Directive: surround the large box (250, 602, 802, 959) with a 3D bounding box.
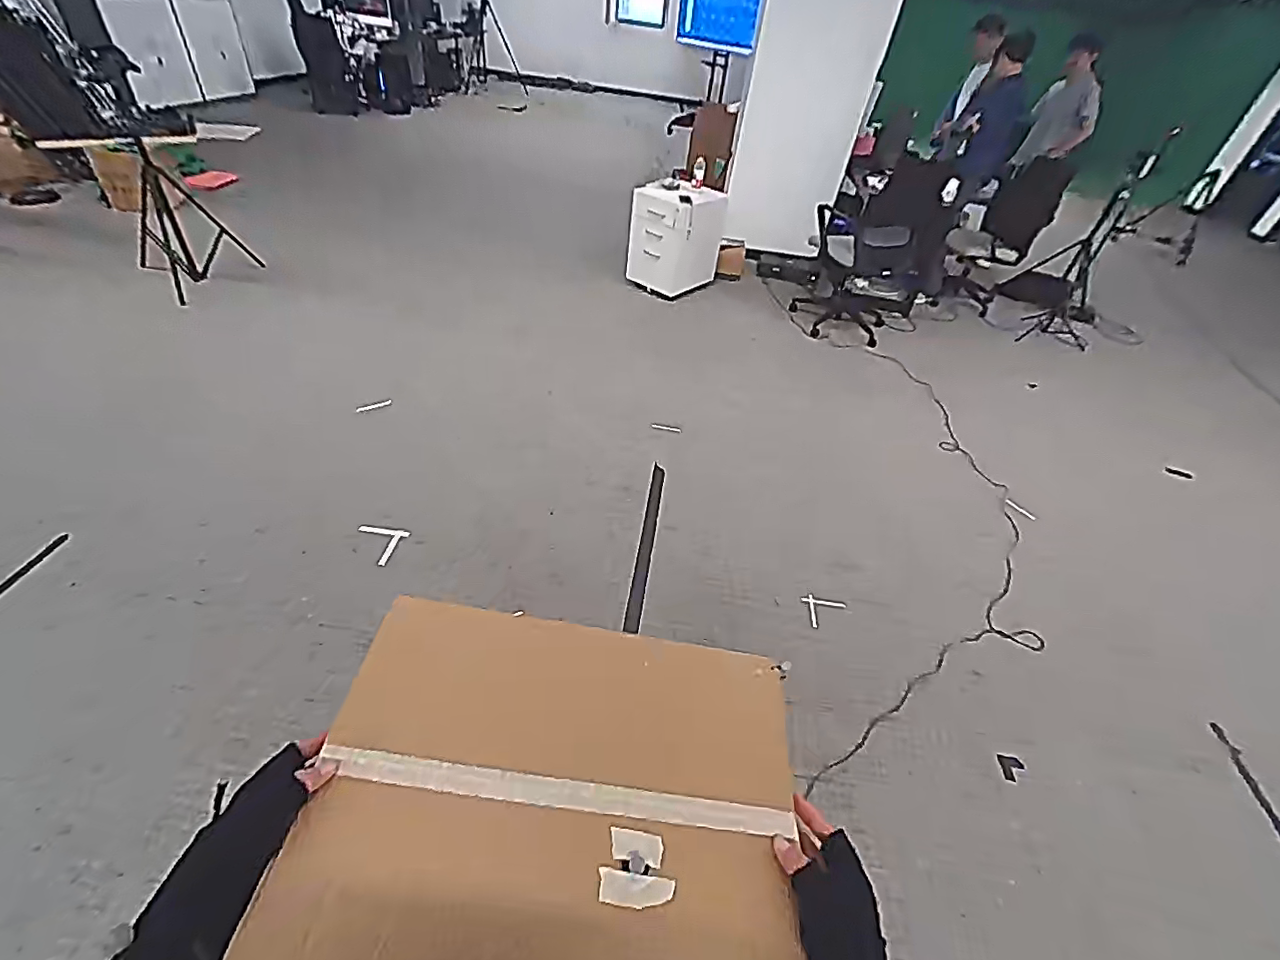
[{"bbox_3d":[-0.088,0.368,0.578,0.408,0.320,0.320,11,46,-3],"label":"large box"}]
